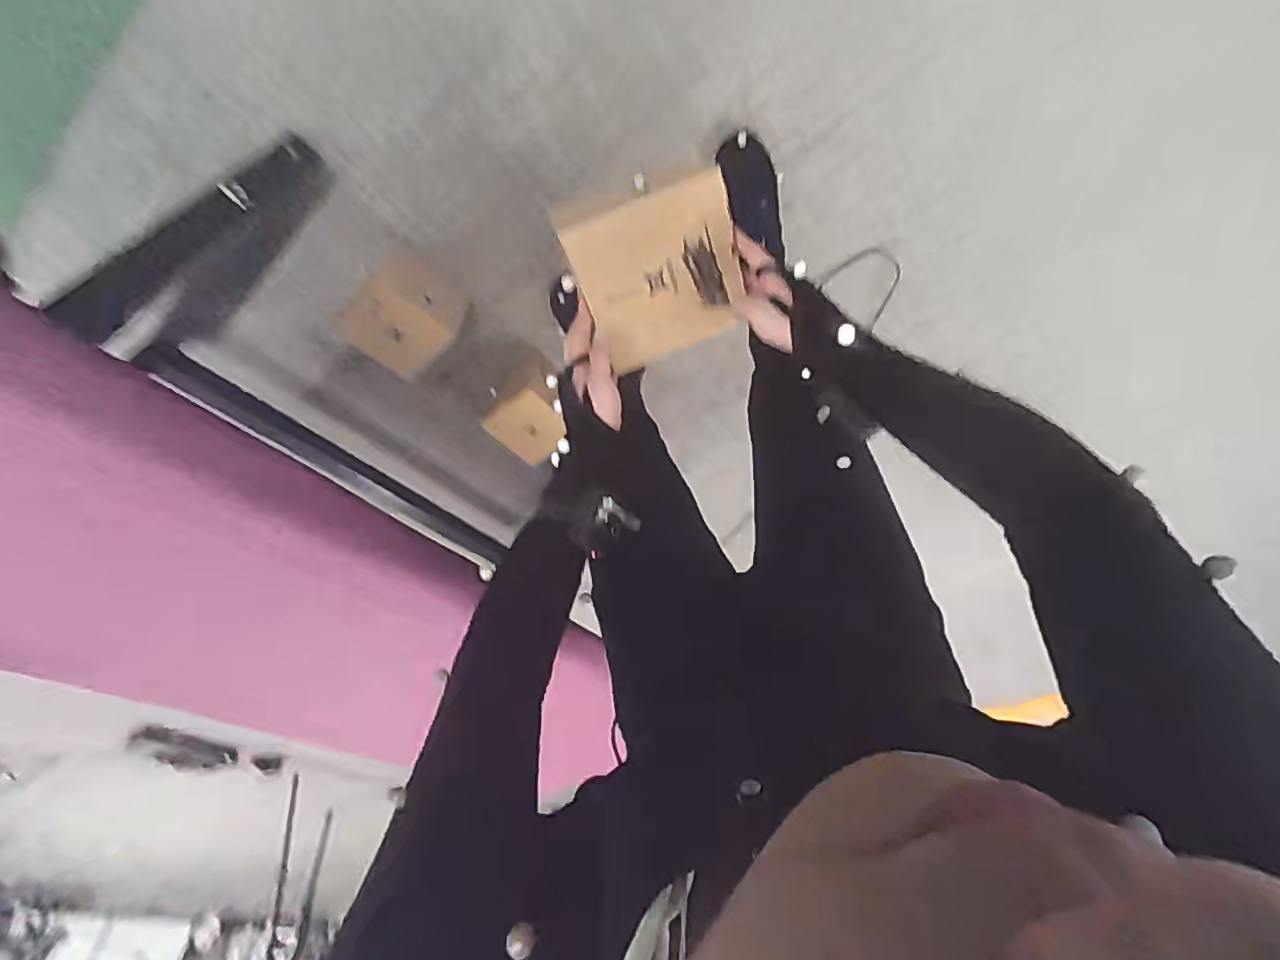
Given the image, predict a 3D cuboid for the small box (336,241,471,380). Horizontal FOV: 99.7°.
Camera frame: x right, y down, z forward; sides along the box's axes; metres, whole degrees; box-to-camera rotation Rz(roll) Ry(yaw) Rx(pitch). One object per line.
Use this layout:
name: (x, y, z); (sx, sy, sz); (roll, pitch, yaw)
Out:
small box: (-0.472, -0.348, 1.106); (0.168, 0.176, 0.179); (-33, 128, 26)

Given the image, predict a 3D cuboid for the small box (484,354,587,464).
small box: (-0.243, -0.176, 1.294); (0.168, 0.176, 0.179); (-29, 130, 25)
